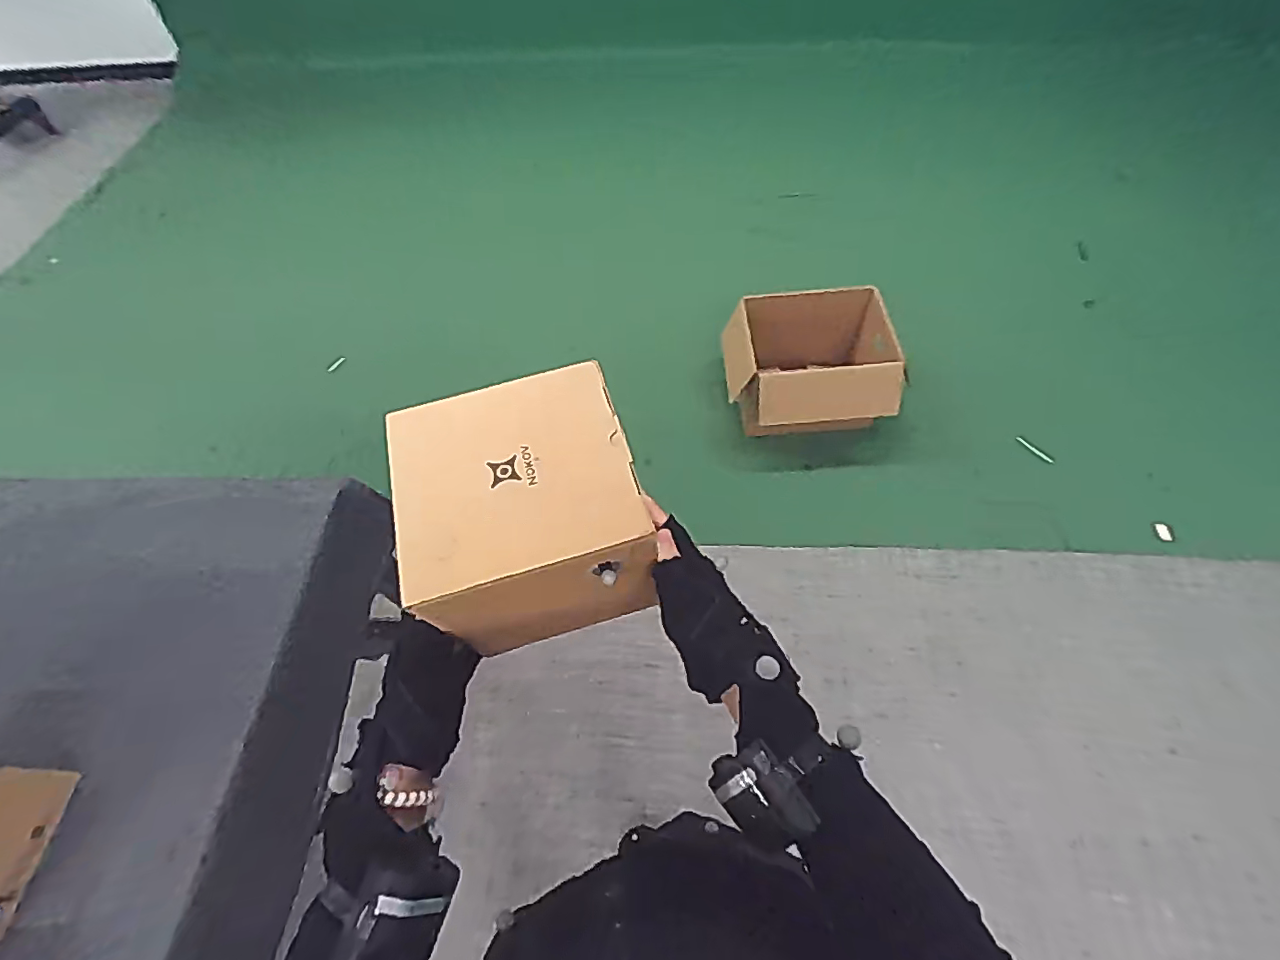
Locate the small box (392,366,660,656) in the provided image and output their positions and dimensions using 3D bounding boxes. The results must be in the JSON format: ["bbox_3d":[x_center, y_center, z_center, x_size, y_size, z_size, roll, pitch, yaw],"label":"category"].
[{"bbox_3d":[-0.088,0.036,0.467,0.179,0.176,0.168,-16,60,-6],"label":"small box"}]

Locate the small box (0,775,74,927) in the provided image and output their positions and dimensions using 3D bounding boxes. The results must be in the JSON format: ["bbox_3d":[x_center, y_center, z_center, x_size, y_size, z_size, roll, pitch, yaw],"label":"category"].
[{"bbox_3d":[-0.773,0.397,0.558,0.179,0.176,0.168,-1,58,4],"label":"small box"}]
